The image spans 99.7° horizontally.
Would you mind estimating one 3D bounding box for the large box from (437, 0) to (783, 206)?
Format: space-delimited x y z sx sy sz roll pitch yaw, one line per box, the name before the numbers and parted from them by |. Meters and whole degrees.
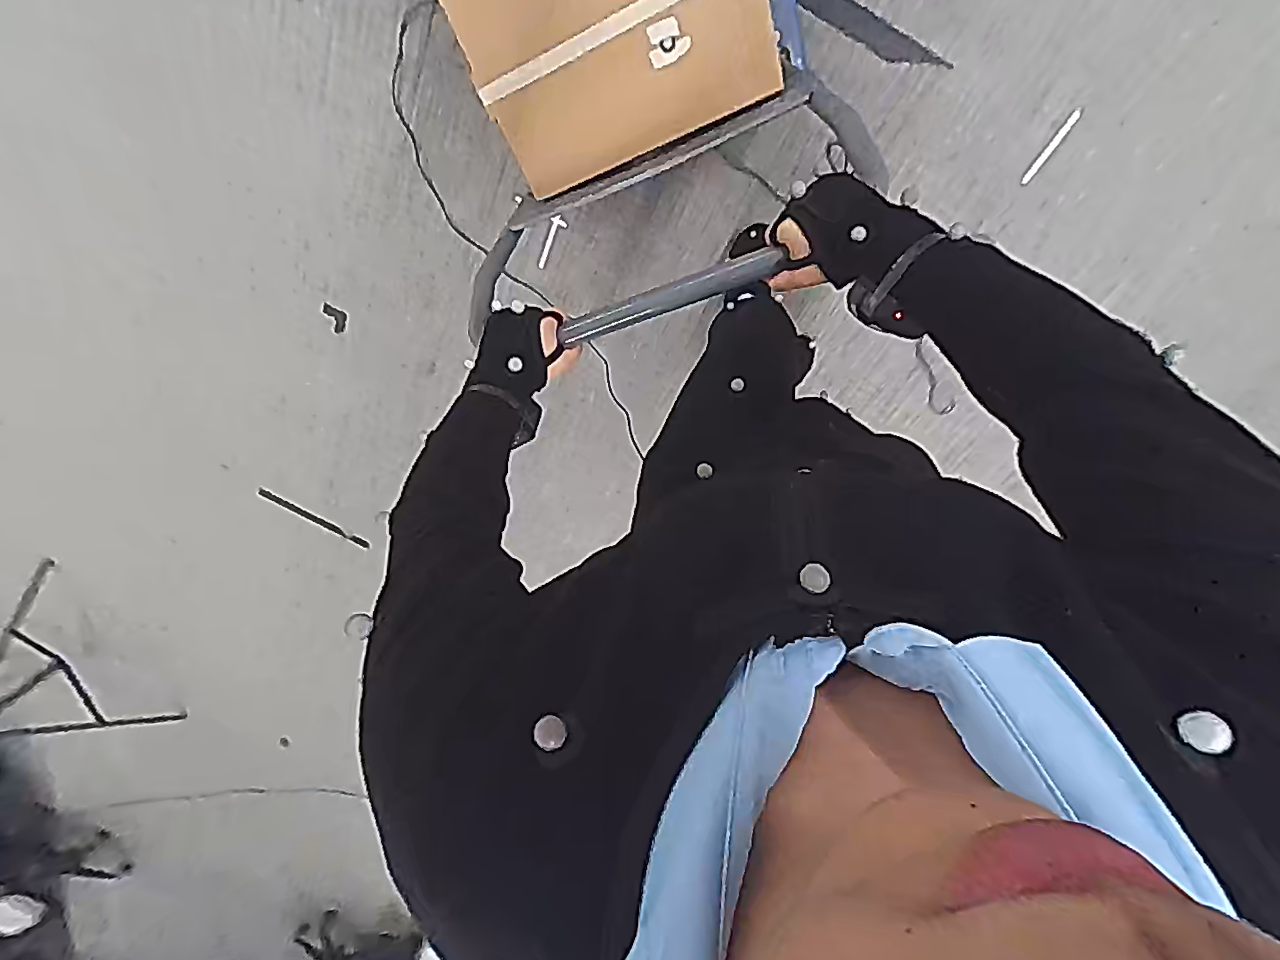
large box | -0.032 -0.696 0.841 0.408 0.320 0.320 -16 128 17
